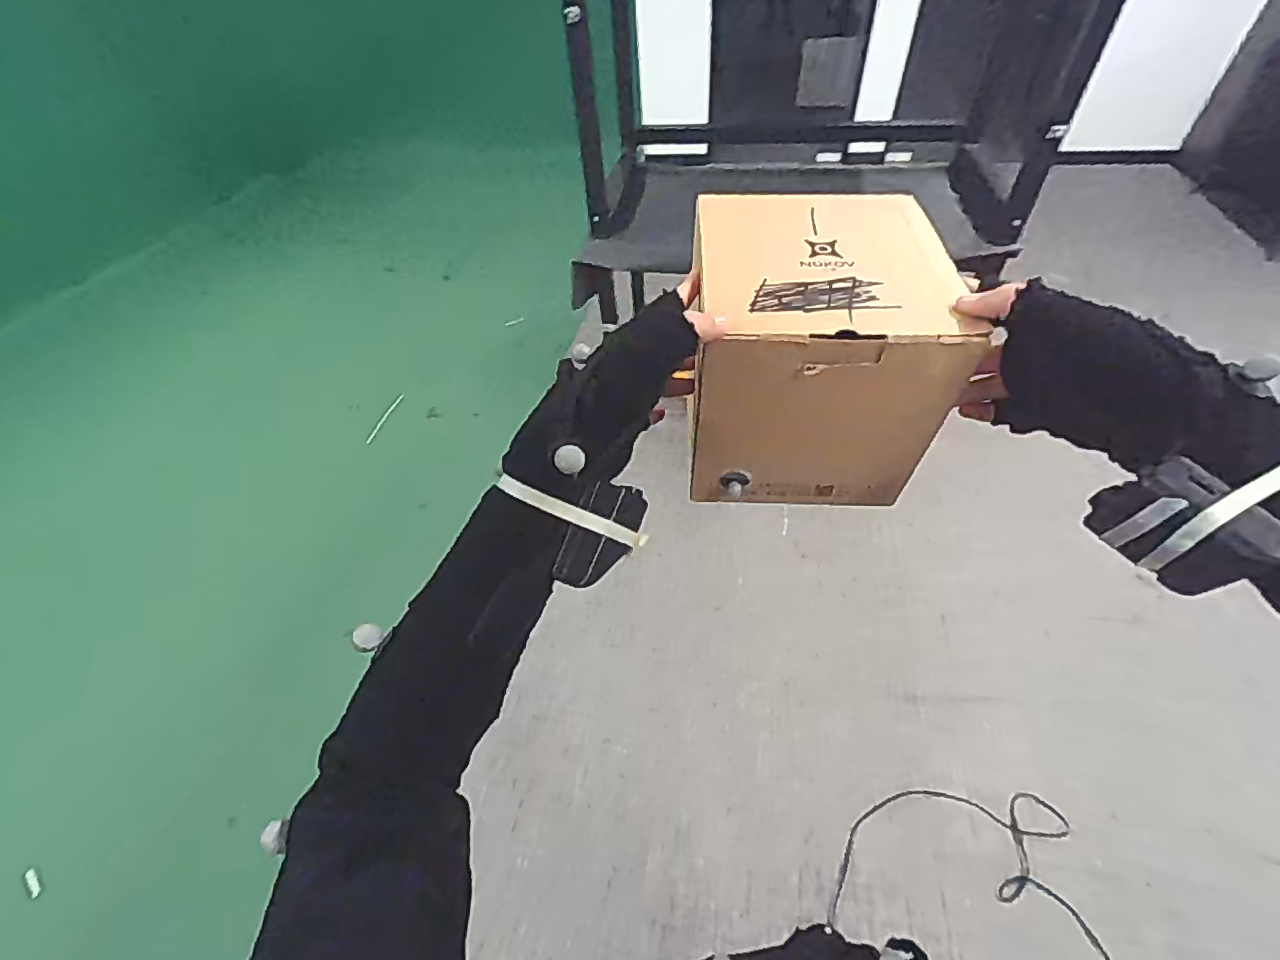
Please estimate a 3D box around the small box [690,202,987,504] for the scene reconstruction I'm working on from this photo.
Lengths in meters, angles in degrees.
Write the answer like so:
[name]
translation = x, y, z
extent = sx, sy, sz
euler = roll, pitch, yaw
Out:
[small box]
translation = 0.127, -0.096, 0.428
extent = 0.168, 0.176, 0.179
euler = 2, 51, 3
